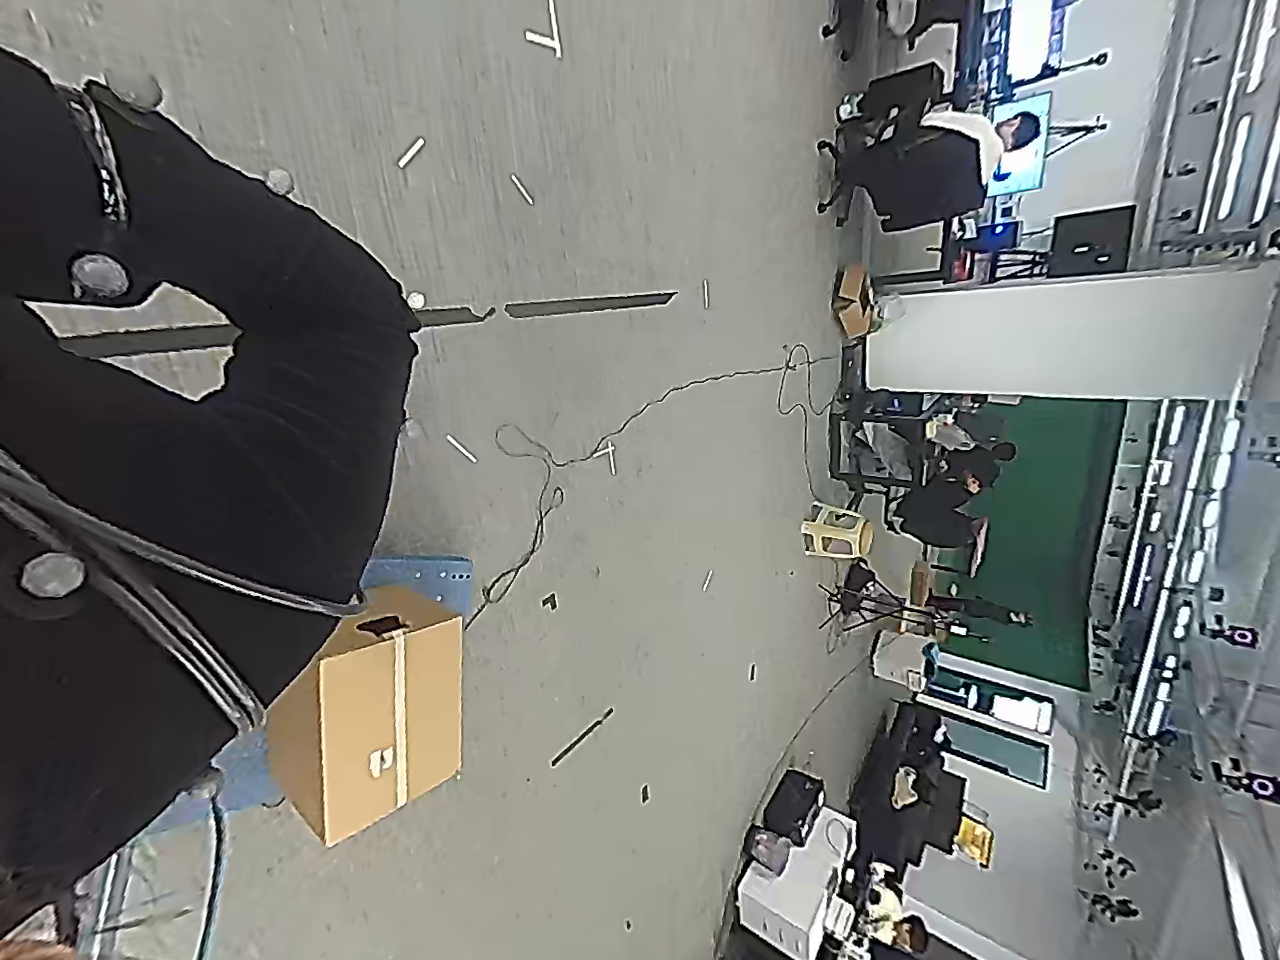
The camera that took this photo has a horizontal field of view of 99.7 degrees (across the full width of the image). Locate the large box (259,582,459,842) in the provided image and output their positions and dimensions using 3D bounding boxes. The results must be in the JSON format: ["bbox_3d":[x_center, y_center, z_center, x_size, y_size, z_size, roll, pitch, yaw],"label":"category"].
[{"bbox_3d":[-0.642,0.496,1.252,0.320,0.320,0.408,-7,104,-51],"label":"large box"}]
